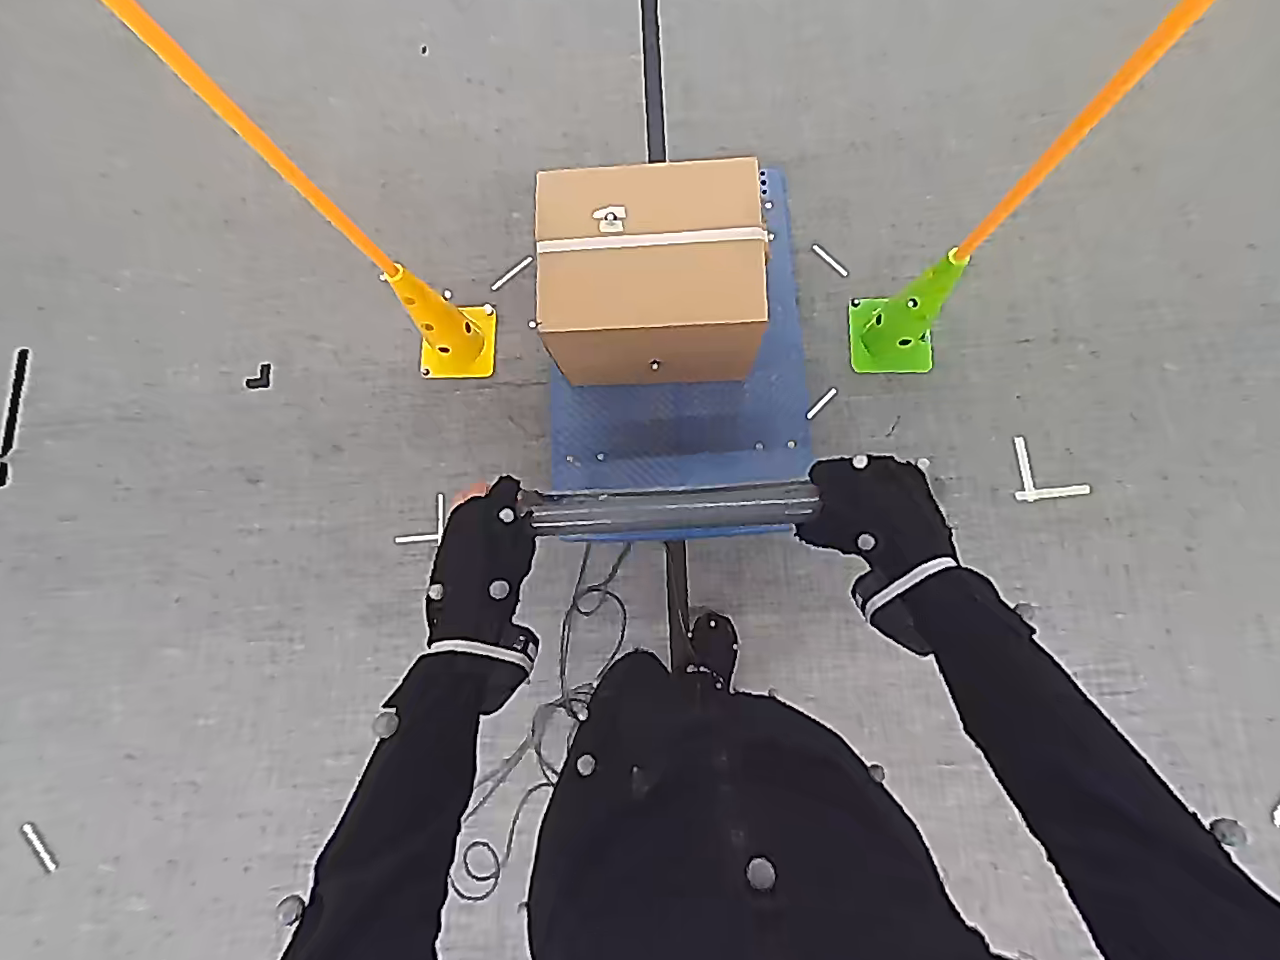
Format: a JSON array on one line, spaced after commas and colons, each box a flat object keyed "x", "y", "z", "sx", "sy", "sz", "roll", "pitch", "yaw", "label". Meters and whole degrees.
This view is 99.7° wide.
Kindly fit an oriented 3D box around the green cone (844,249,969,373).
[{"x": 0.624, "y": -0.399, "z": 1.227, "sx": 0.202, "sy": 0.368, "sz": 0.200, "roll": 0, "pitch": 81, "yaw": 3, "label": "green cone"}]

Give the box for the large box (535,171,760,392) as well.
[{"x": 0.020, "y": -0.381, "z": 1.122, "sx": 0.408, "sy": 0.320, "sz": 0.320, "roll": -2, "pitch": 82, "yaw": 4, "label": "large box"}]
